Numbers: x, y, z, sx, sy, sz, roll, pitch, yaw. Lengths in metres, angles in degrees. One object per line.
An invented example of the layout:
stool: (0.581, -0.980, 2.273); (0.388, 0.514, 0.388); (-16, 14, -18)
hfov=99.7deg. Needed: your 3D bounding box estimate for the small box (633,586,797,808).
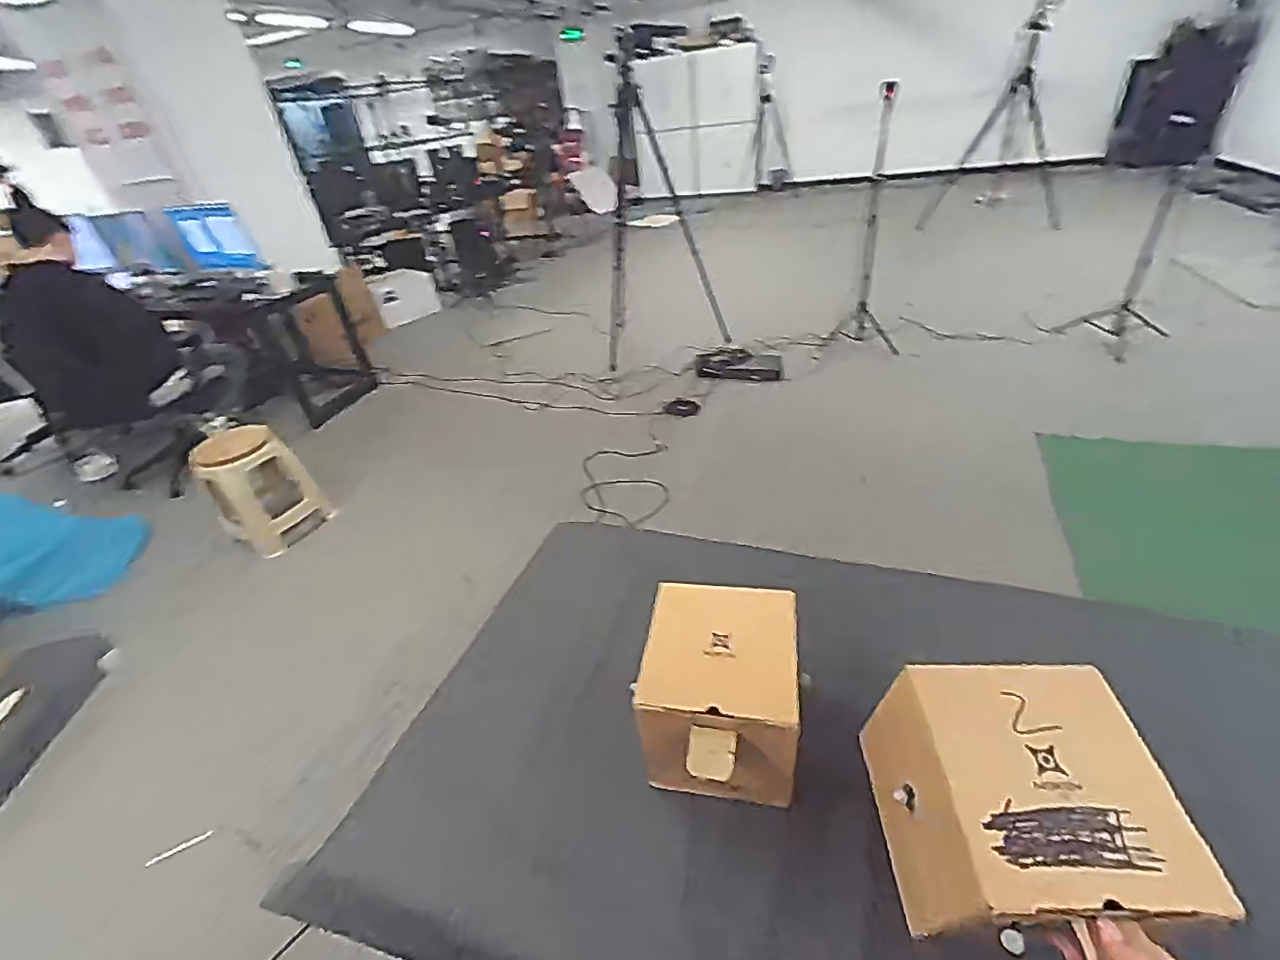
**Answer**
small box: (0.095, 0.253, 0.646); (0.168, 0.176, 0.179); (1, 36, 12)
